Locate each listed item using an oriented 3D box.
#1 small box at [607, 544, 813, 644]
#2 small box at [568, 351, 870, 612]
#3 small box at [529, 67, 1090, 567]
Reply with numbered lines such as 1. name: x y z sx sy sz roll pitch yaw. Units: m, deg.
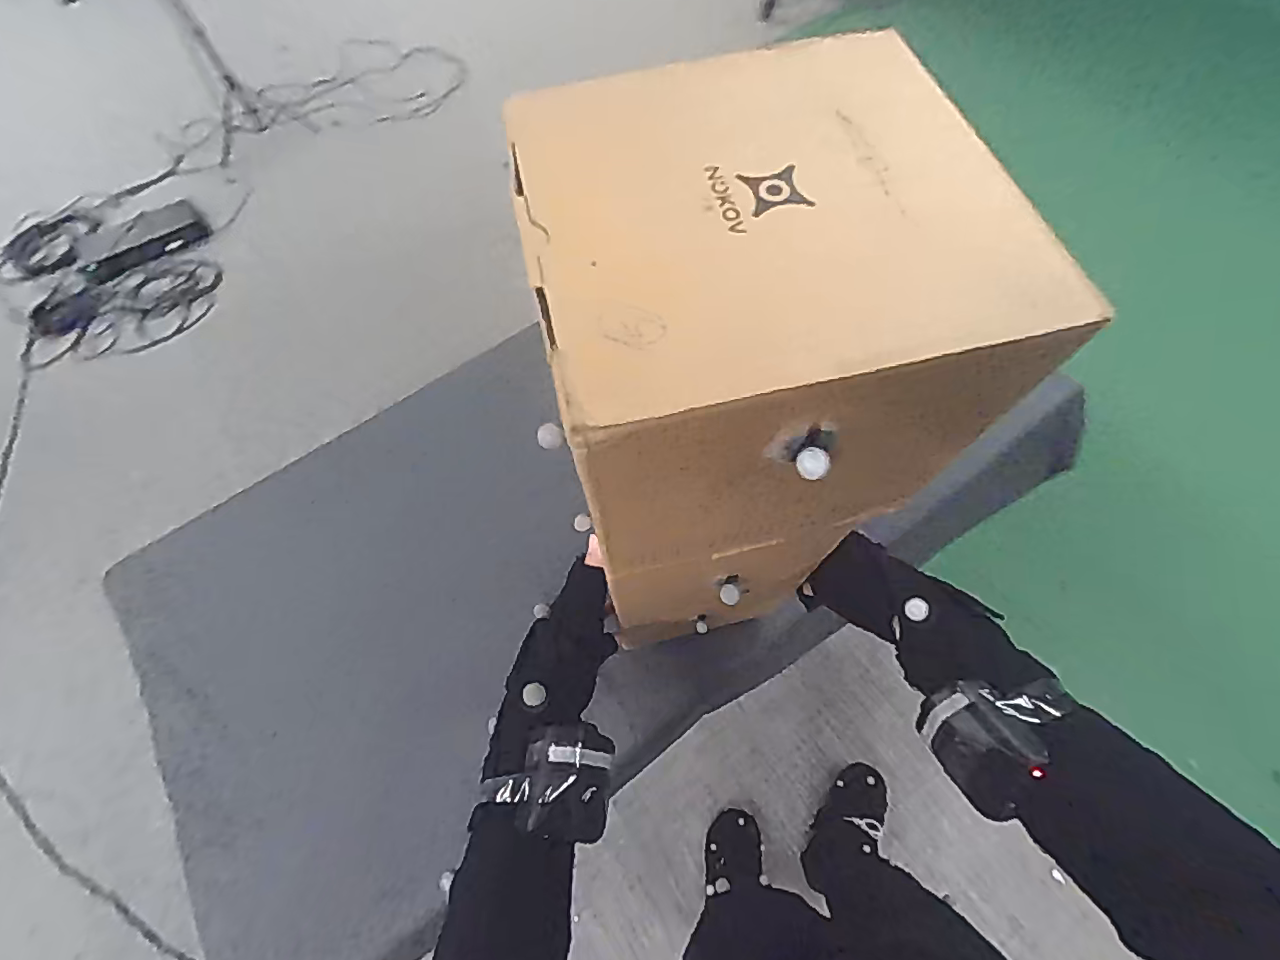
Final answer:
1. small box: 0.055 0.066 0.578 0.179 0.176 0.168 -12 65 -4
2. small box: 0.048 -0.002 0.431 0.168 0.176 0.179 -13 66 -5
3. small box: 0.054 -0.066 0.281 0.179 0.176 0.168 -12 66 -5
